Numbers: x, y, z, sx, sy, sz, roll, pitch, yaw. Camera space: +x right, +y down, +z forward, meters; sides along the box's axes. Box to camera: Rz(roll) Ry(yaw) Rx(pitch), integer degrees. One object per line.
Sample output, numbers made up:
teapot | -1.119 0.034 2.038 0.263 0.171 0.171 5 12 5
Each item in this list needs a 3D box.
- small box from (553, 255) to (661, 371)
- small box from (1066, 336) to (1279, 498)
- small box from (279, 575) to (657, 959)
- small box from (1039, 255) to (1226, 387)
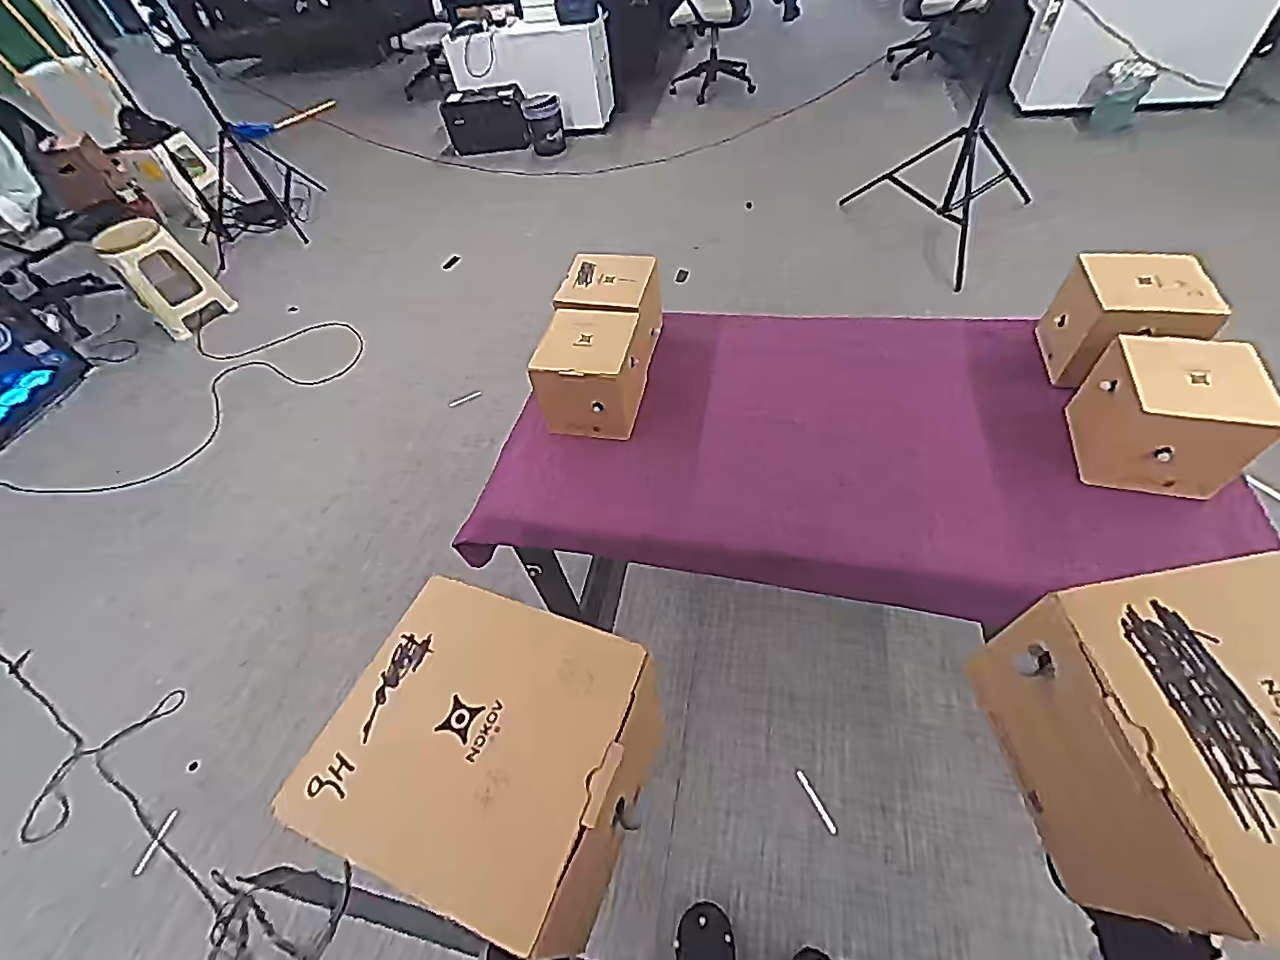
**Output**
small box | -0.060 -0.349 1.137 0.179 0.176 0.168 8 56 12
small box | 0.796 -0.095 0.830 0.168 0.176 0.179 9 53 16
small box | -0.094 0.201 0.392 0.179 0.176 0.168 15 53 16
small box | 0.841 -0.274 0.954 0.179 0.176 0.168 7 55 12
